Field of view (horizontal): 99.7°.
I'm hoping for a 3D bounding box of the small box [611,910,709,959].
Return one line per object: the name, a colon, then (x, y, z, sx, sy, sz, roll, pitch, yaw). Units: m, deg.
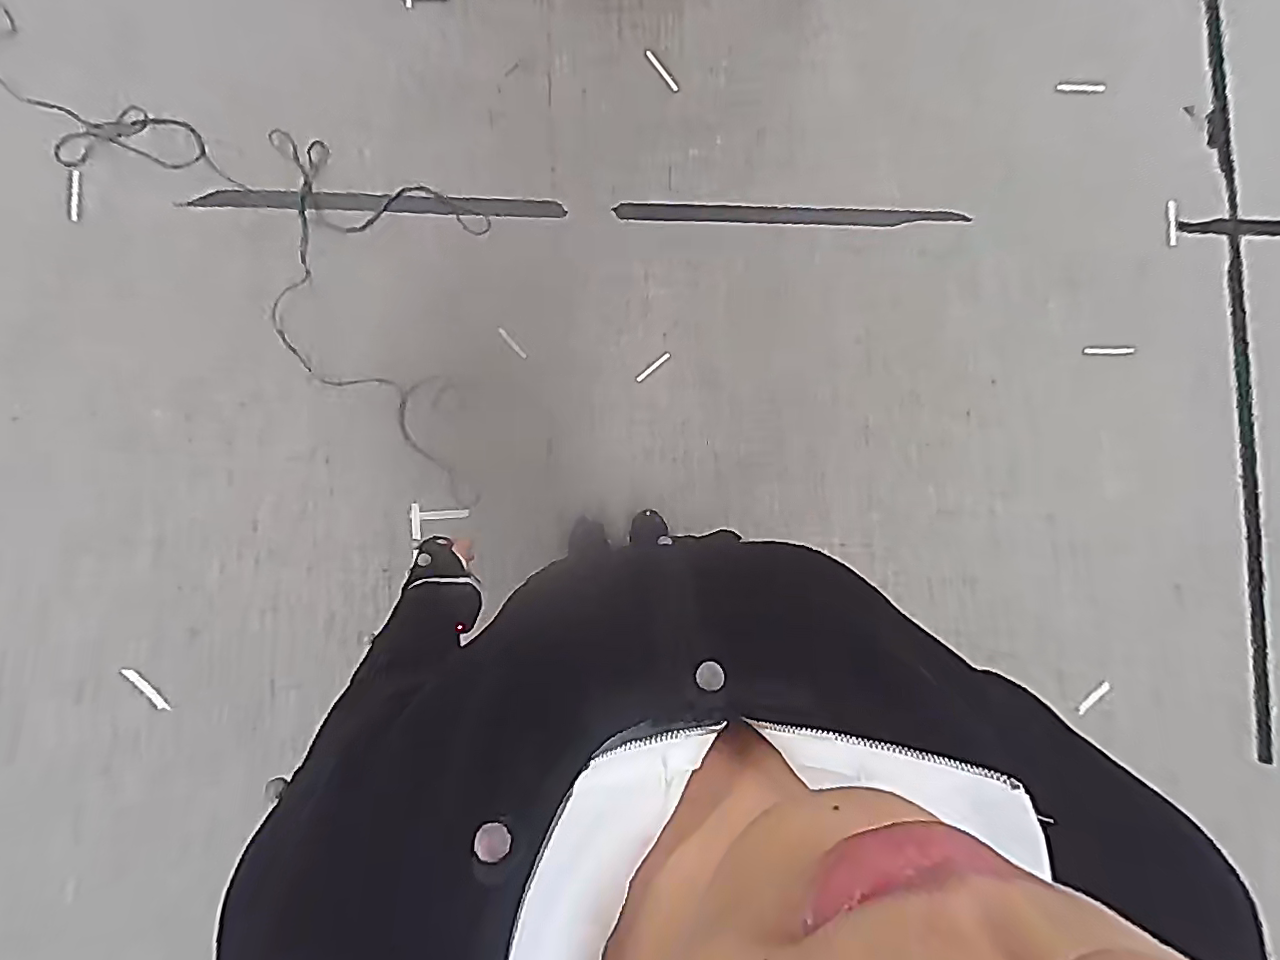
small box: (0.037, 0.872, 0.901, 0.168, 0.176, 0.179, -2, 85, -5)
